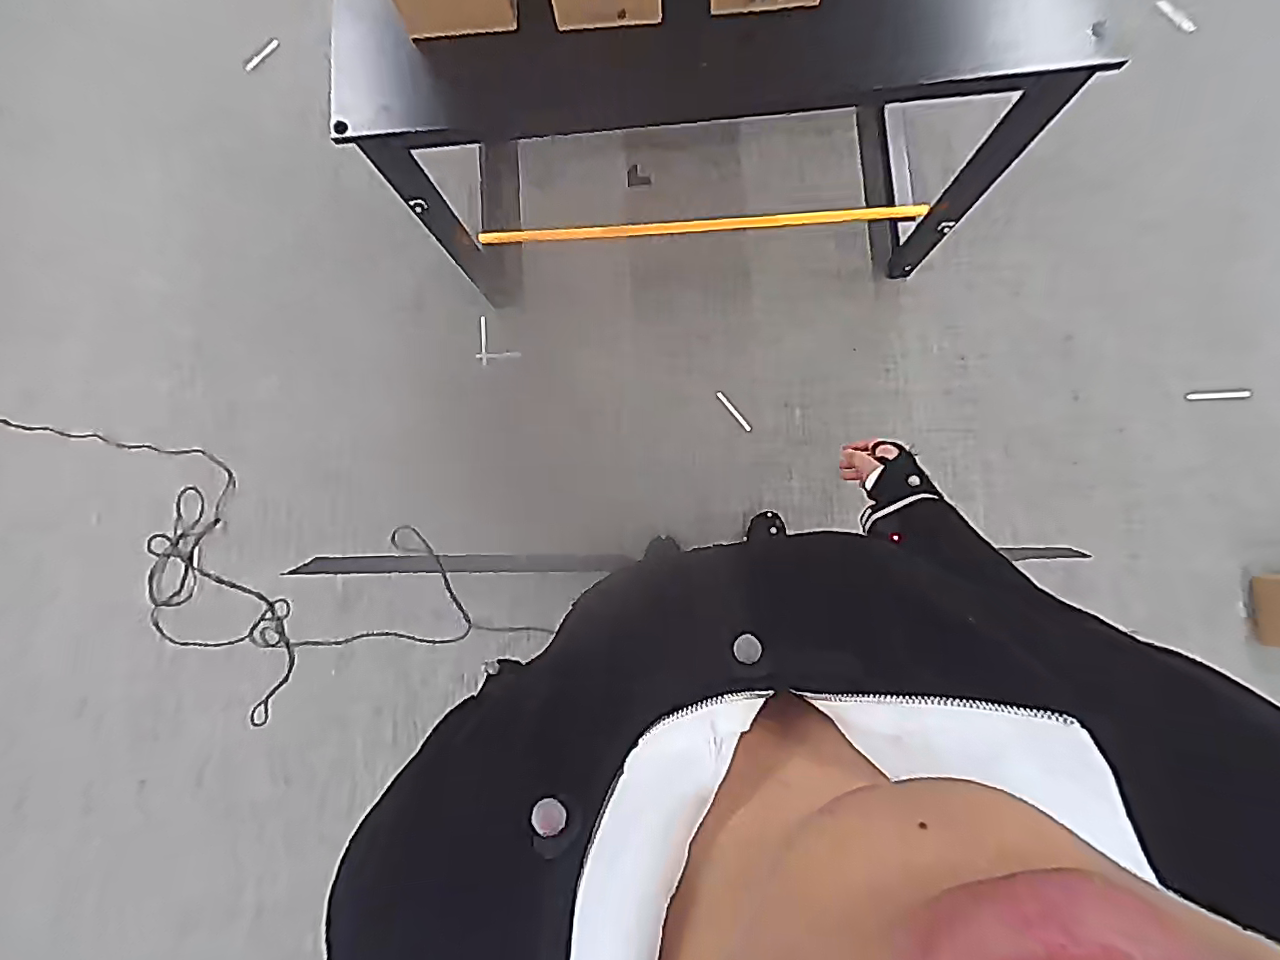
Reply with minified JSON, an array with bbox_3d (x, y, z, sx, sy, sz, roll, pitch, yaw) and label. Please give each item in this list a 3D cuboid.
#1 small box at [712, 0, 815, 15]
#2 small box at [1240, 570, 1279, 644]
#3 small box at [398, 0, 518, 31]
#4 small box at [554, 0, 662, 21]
[{"bbox_3d":[0.183,-0.818,0.764,0.168,0.176,0.179,-4,86,4],"label":"small box"},{"bbox_3d":[1.639,0.316,1.317,0.168,0.176,0.179,-3,86,3],"label":"small box"},{"bbox_3d":[-0.287,-0.803,0.788,0.179,0.176,0.168,-2,86,3],"label":"small box"},{"bbox_3d":[-0.054,-0.806,0.776,0.168,0.176,0.179,-1,86,4],"label":"small box"}]
